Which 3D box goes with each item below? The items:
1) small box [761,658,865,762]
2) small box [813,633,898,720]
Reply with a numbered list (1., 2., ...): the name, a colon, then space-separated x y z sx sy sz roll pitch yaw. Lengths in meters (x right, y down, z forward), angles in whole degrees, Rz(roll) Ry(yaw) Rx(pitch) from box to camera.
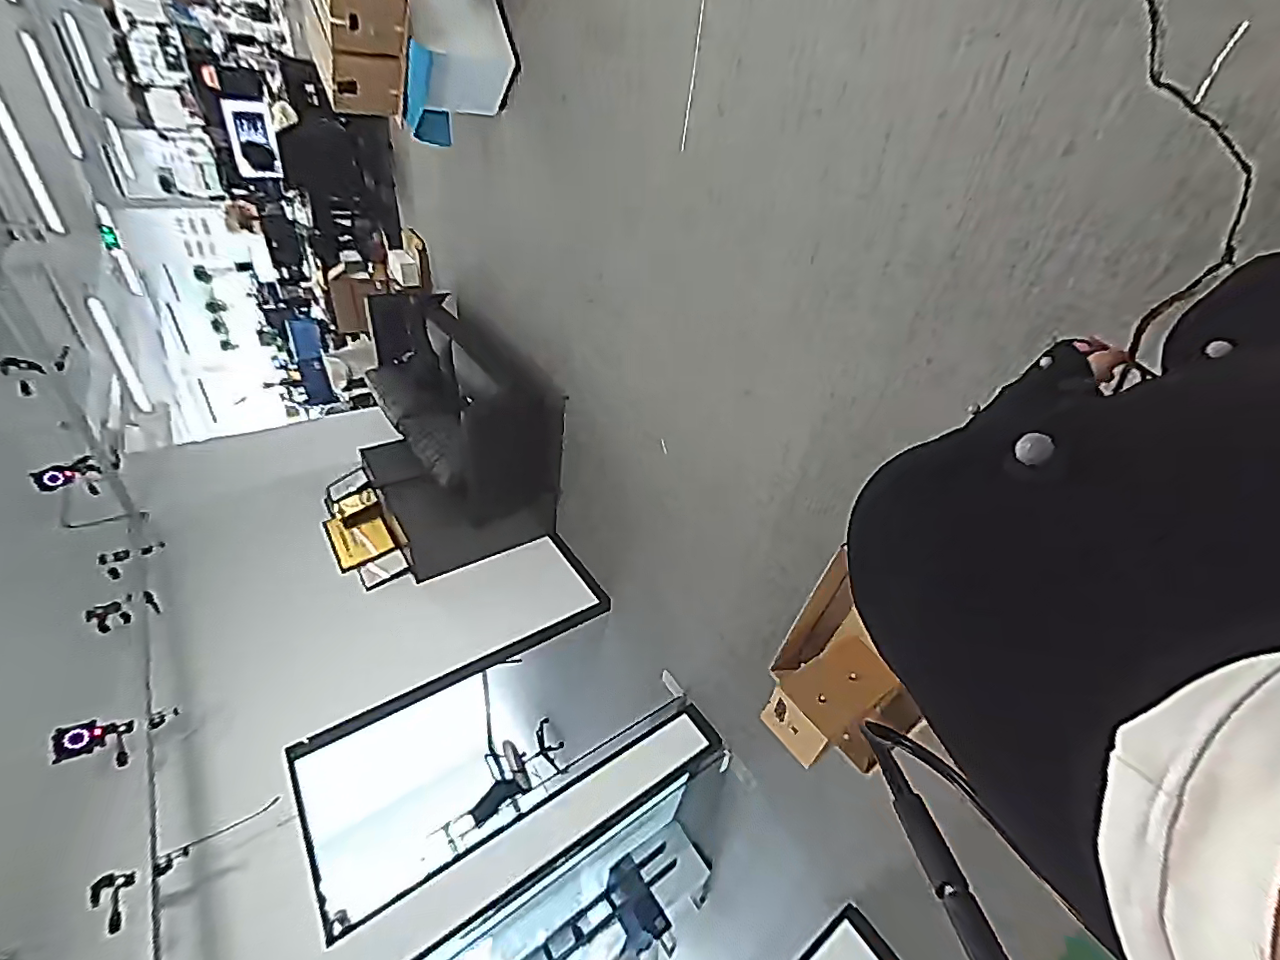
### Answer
1. small box: 0.468 0.612 1.469 0.179 0.176 0.168 43 139 35
2. small box: 0.598 0.568 1.560 0.179 0.176 0.168 45 139 34
